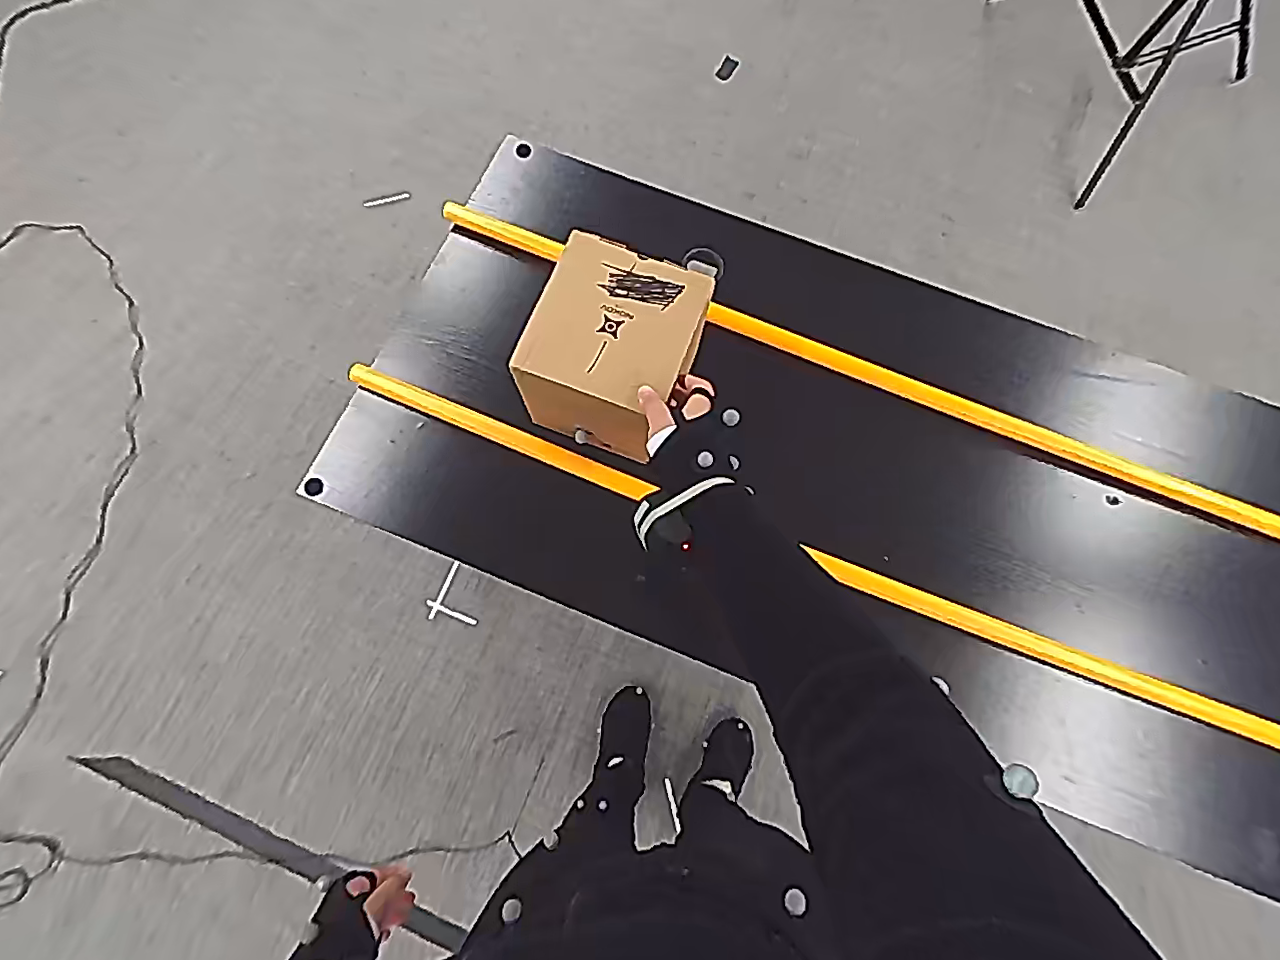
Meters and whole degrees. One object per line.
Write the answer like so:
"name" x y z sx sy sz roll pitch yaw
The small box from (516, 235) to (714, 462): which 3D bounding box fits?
"small box" -0.027 -0.145 0.646 0.168 0.176 0.179 20 76 4
